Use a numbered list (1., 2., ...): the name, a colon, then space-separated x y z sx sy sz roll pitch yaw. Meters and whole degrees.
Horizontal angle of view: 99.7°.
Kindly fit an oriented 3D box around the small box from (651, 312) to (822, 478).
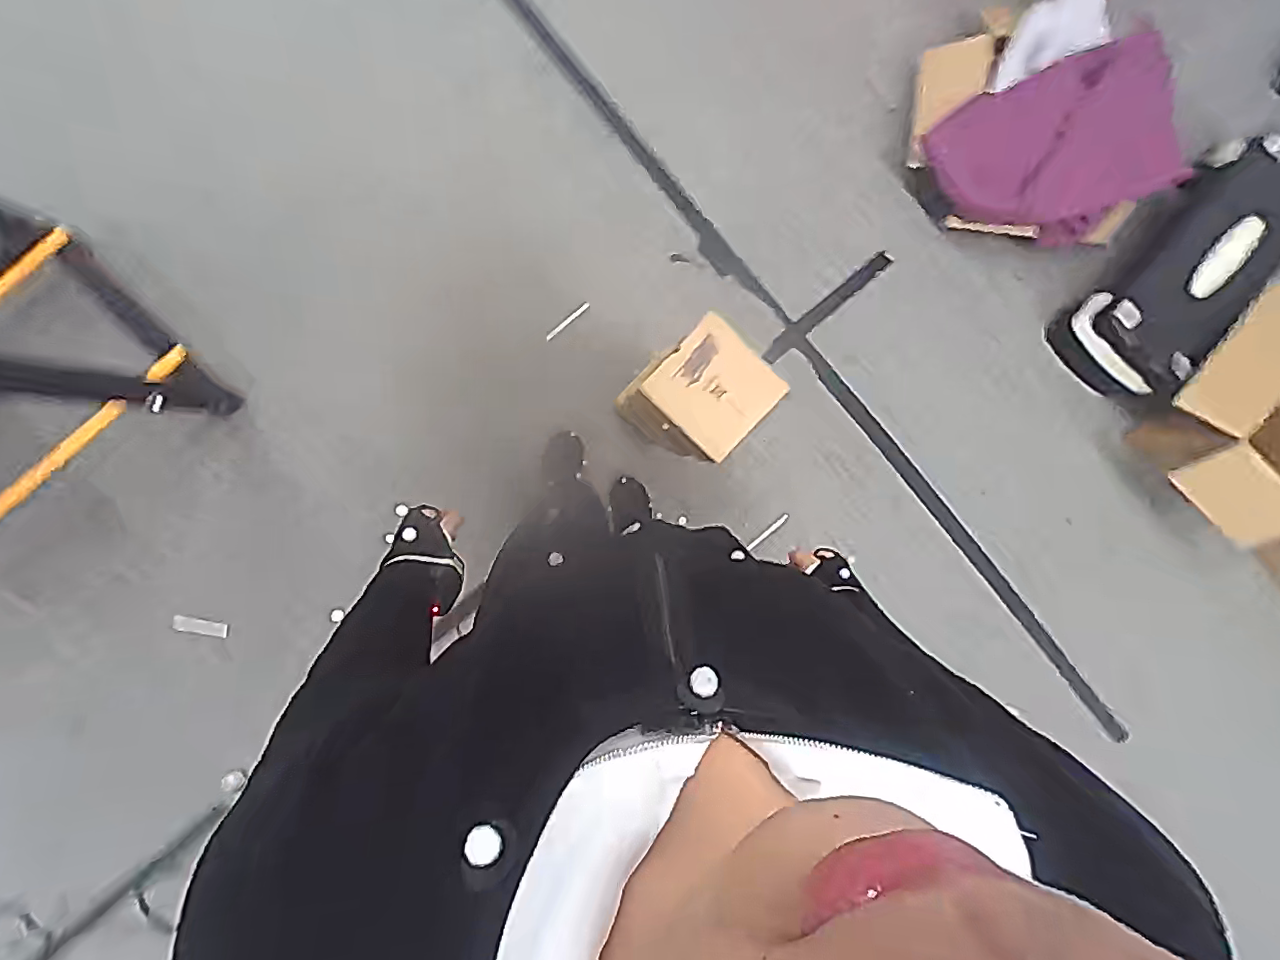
1. small box: 0.134 -0.121 0.831 0.179 0.176 0.168 43 90 -7

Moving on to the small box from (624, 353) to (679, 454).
1. small box: 0.072 -0.183 1.318 0.168 0.176 0.179 43 92 -5

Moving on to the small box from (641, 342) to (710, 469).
1. small box: 0.116 -0.140 0.994 0.179 0.176 0.168 -43 95 0

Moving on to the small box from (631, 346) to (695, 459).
1. small box: 0.095 -0.156 1.158 0.168 0.176 0.179 42 91 -6
